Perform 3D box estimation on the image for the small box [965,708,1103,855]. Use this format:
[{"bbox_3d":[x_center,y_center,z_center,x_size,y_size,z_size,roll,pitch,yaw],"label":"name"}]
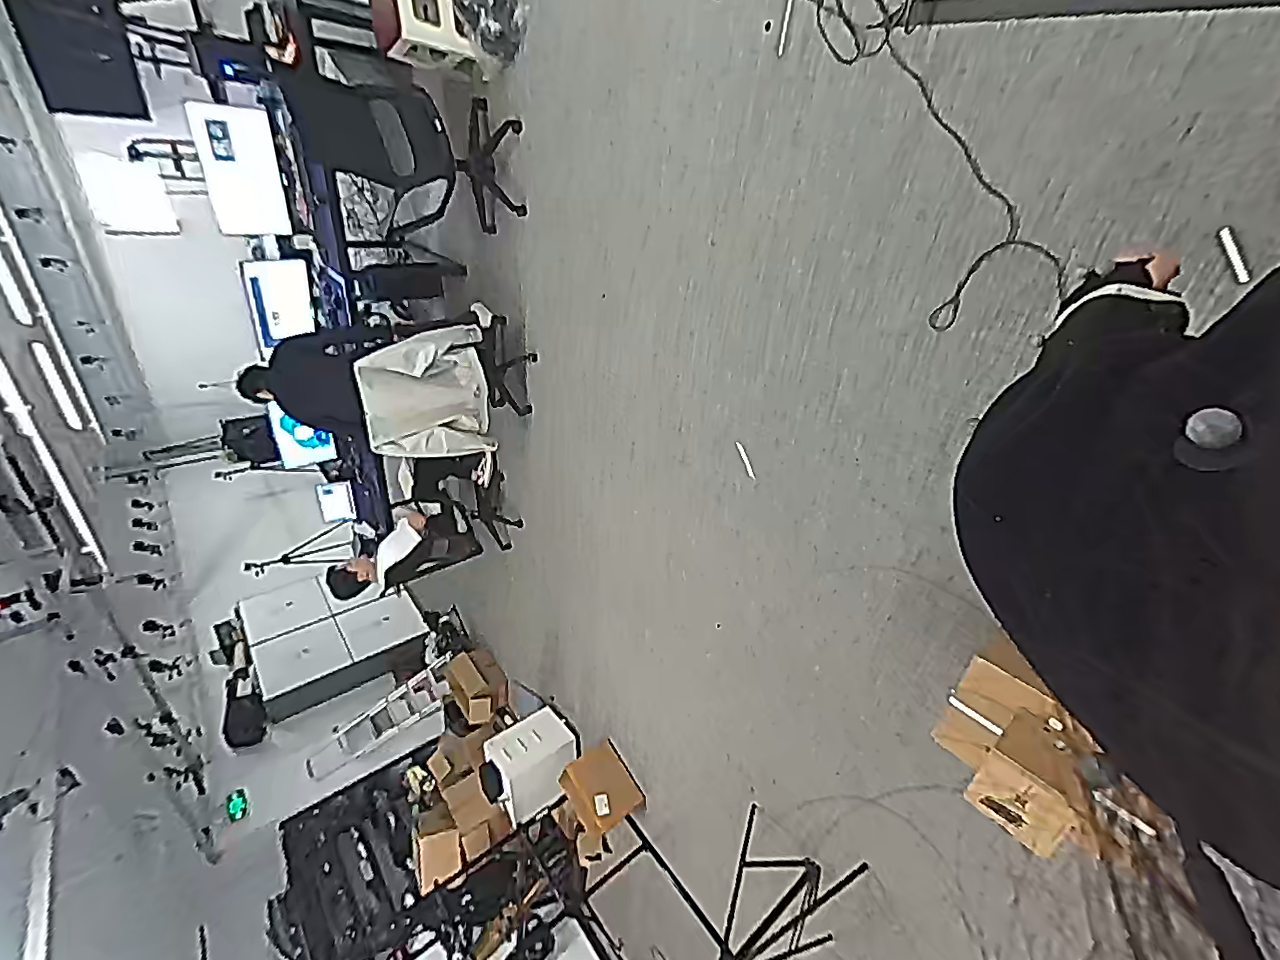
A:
[{"bbox_3d":[0.836,0.630,1.147,0.168,0.176,0.179,33,129,41],"label":"small box"}]
